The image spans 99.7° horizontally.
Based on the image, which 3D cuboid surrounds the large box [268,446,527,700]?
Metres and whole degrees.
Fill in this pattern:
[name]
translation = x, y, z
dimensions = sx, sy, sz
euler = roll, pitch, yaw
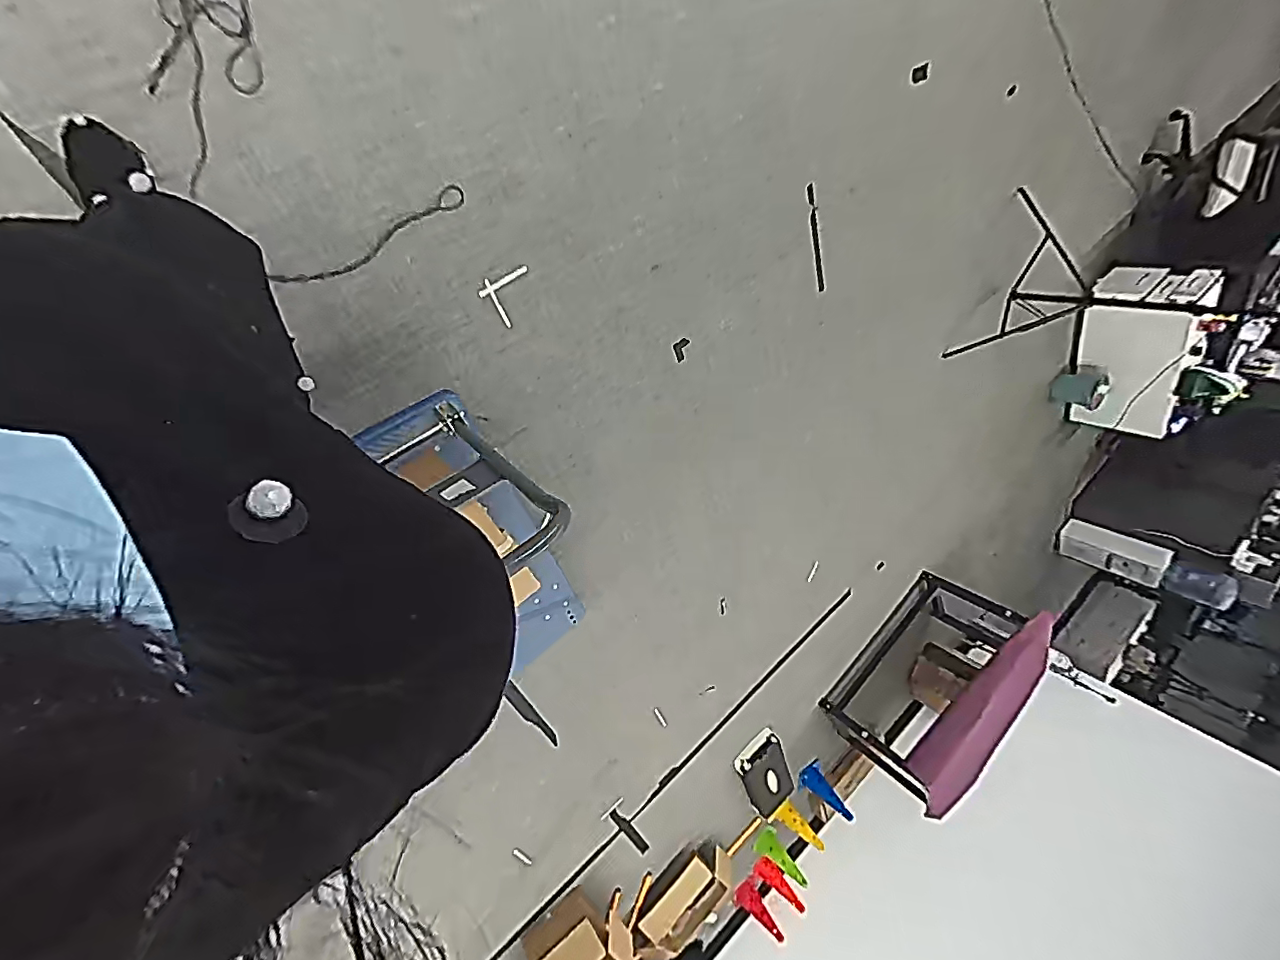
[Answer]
[large box]
translation = -0.542, 0.188, 1.224
dimensions = 0.408, 0.320, 0.320
euler = -38, 126, -17
